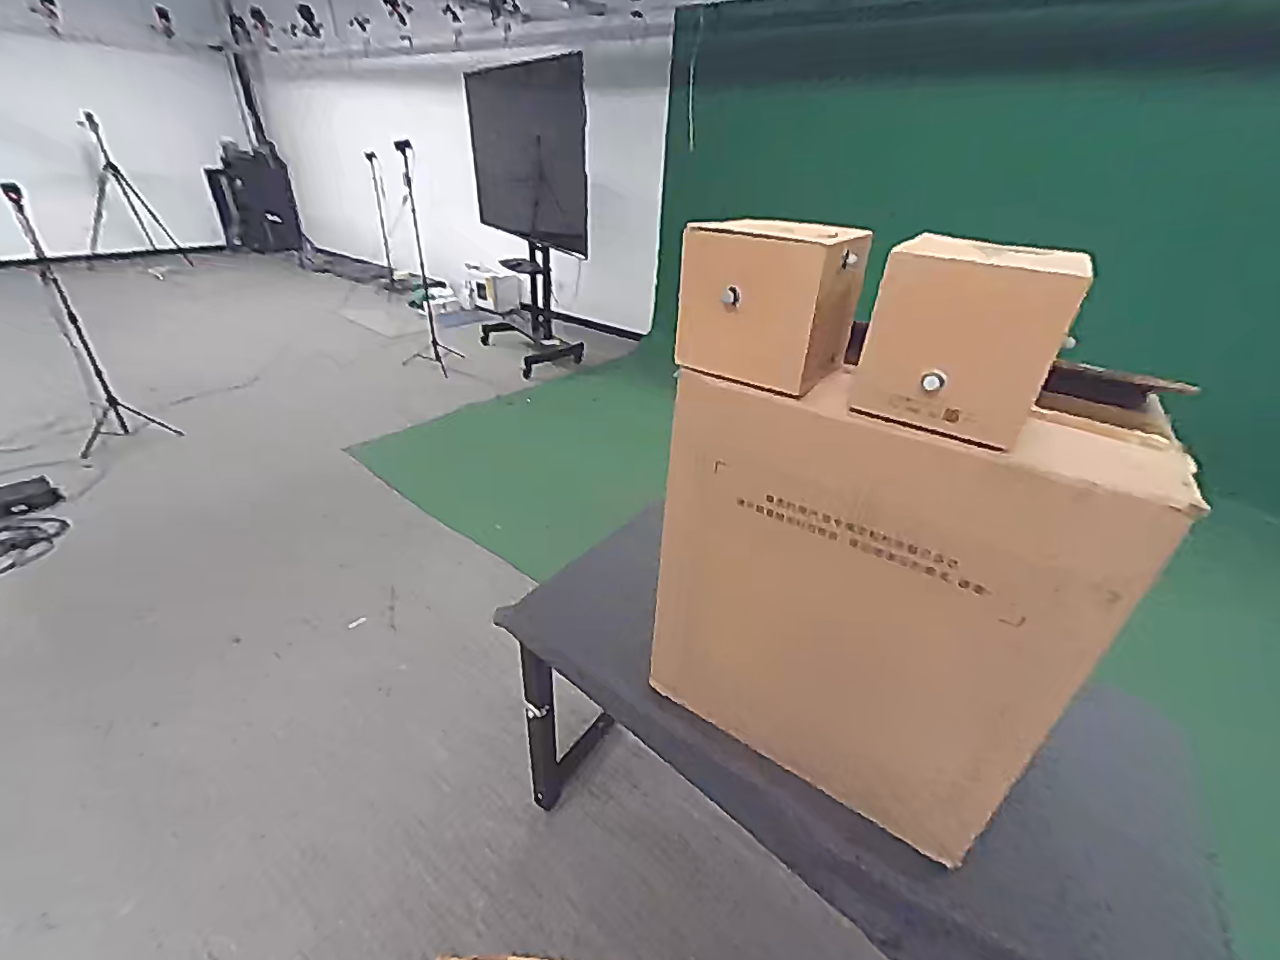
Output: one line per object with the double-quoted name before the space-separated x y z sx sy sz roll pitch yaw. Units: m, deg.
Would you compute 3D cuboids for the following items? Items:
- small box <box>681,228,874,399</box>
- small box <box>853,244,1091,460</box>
"small box" 0.166 -0.216 0.686 0.179 0.176 0.168 22 36 29
"small box" 0.352 -0.146 0.589 0.168 0.176 0.179 23 37 27
